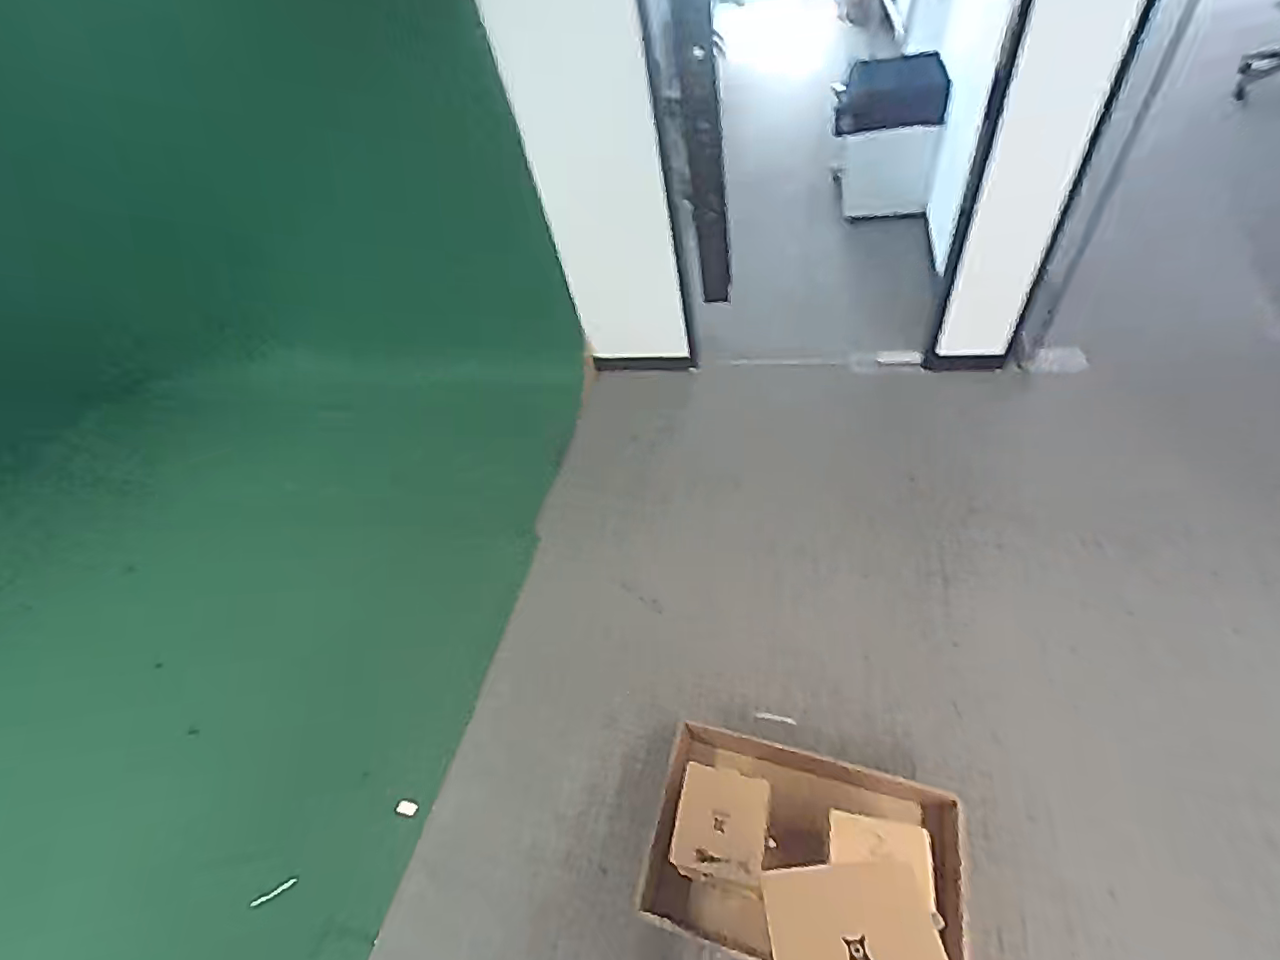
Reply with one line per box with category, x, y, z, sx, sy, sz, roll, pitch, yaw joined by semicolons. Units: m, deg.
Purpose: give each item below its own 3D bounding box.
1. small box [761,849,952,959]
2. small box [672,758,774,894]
small box;0.229;0.525;0.558;0.168;0.176;0.179;-12;30;7
small box;0.173;0.686;1.072;0.168;0.176;0.179;4;50;20
